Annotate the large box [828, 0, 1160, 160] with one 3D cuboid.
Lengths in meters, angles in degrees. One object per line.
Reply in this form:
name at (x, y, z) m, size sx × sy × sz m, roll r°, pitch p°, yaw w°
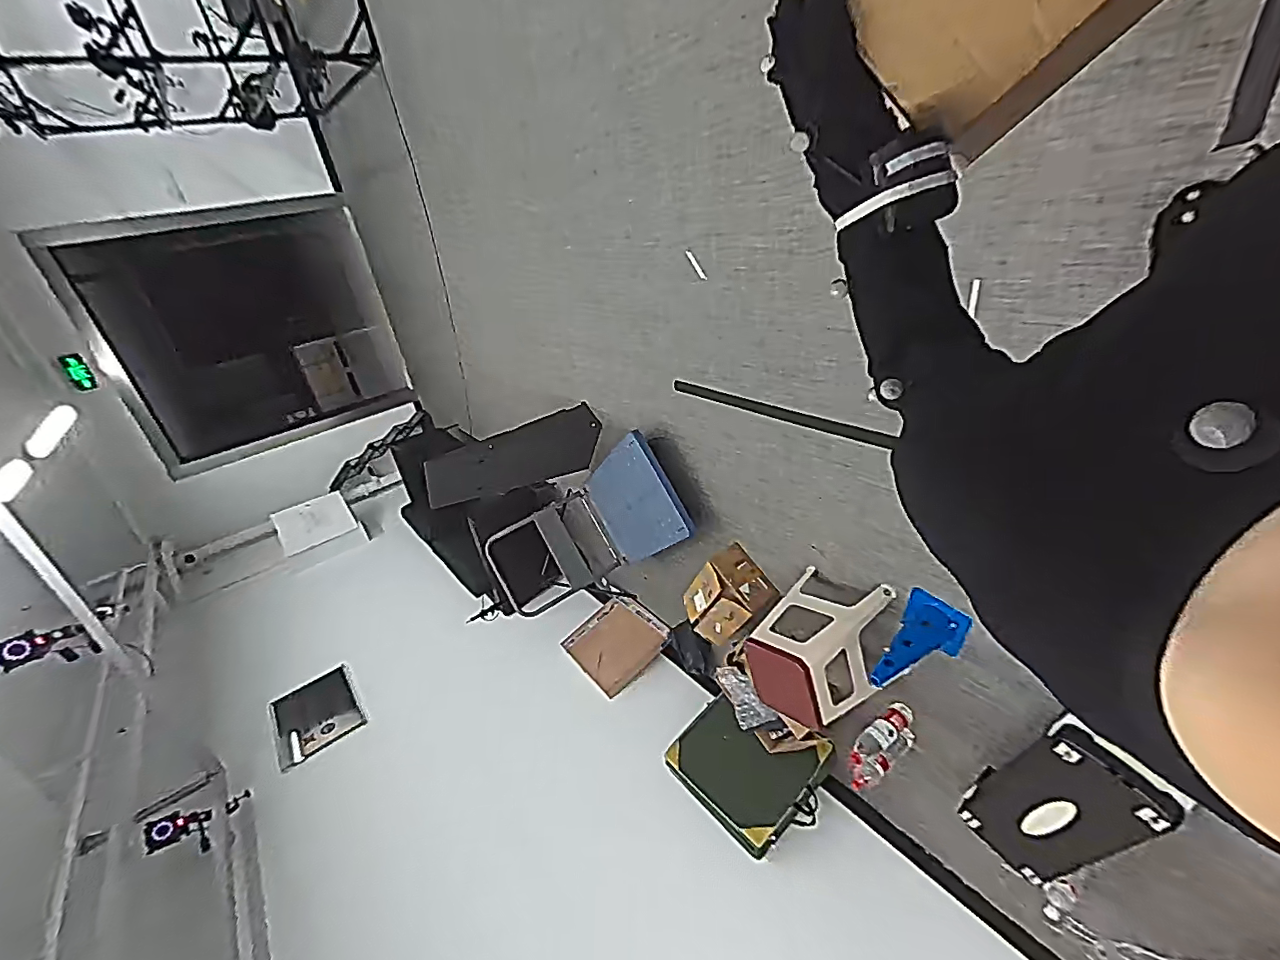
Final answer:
large box at (0.337, -0.534, 0.404) m, size 0.320 × 0.320 × 0.408 m, roll 52°, pitch 130°, yaw 1°
